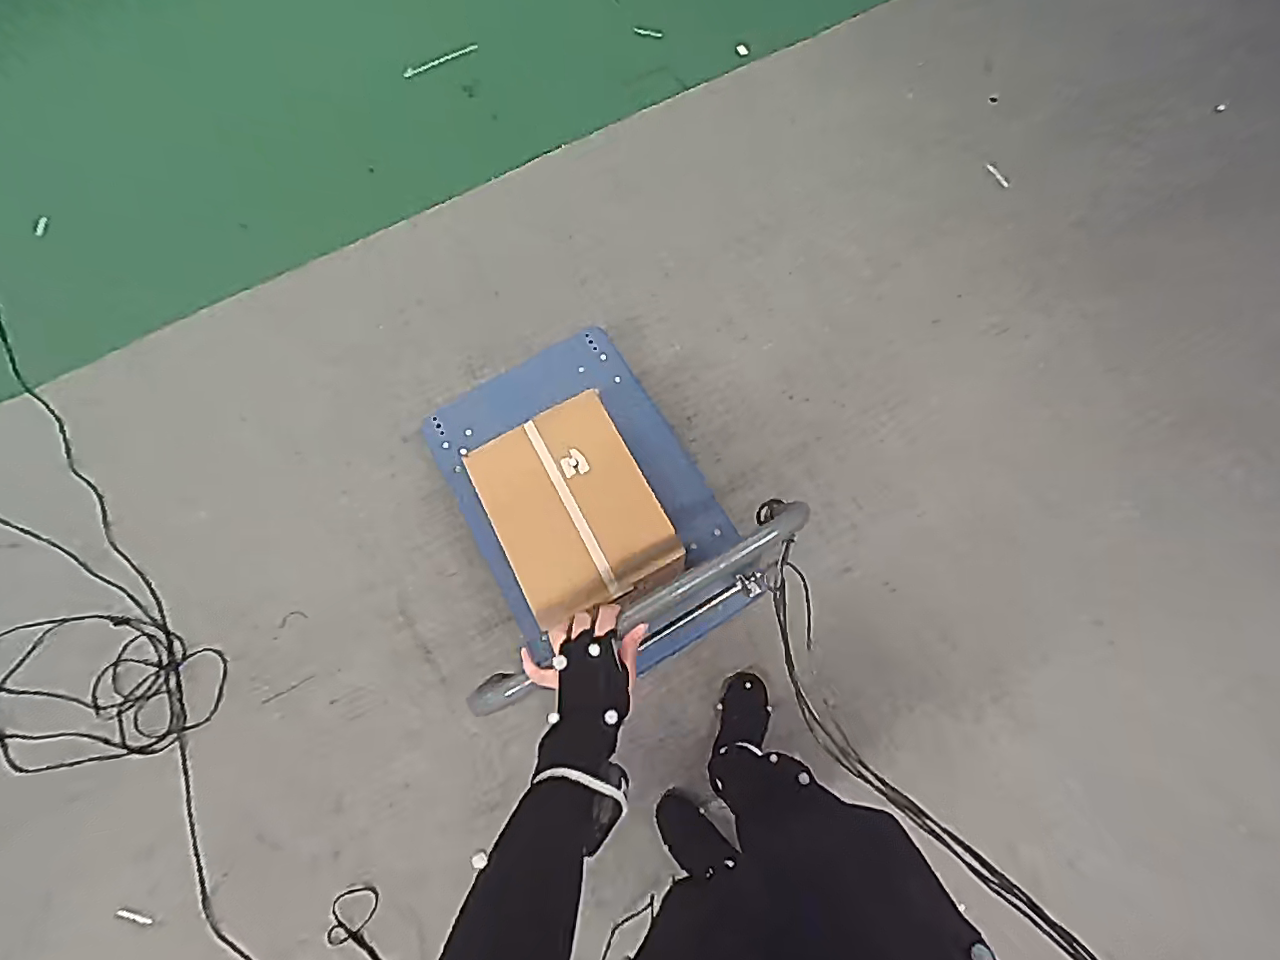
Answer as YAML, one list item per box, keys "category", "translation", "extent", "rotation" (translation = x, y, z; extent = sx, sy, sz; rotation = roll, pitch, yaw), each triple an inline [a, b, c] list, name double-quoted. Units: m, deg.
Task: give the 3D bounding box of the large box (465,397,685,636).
- category: "large box"
  translation: [-0.127, 0.098, 1.224]
  extent: [0.320, 0.320, 0.408]
  rotation: [-28, 73, -5]
